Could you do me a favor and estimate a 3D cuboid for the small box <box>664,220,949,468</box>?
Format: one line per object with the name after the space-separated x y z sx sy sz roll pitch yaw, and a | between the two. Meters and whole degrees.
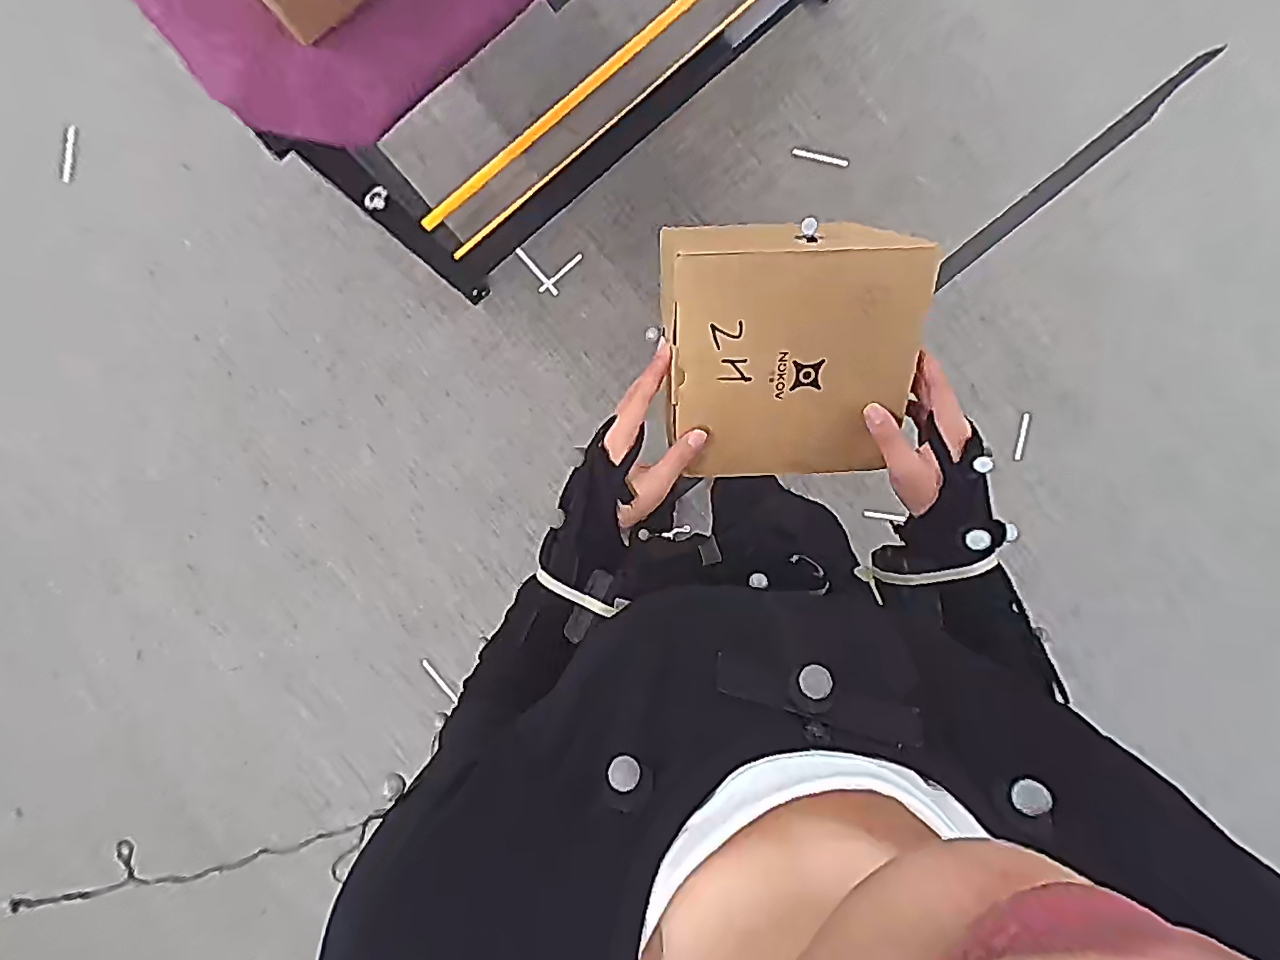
0.114 -0.122 0.456 0.179 0.176 0.168 -1 120 0 | small box
